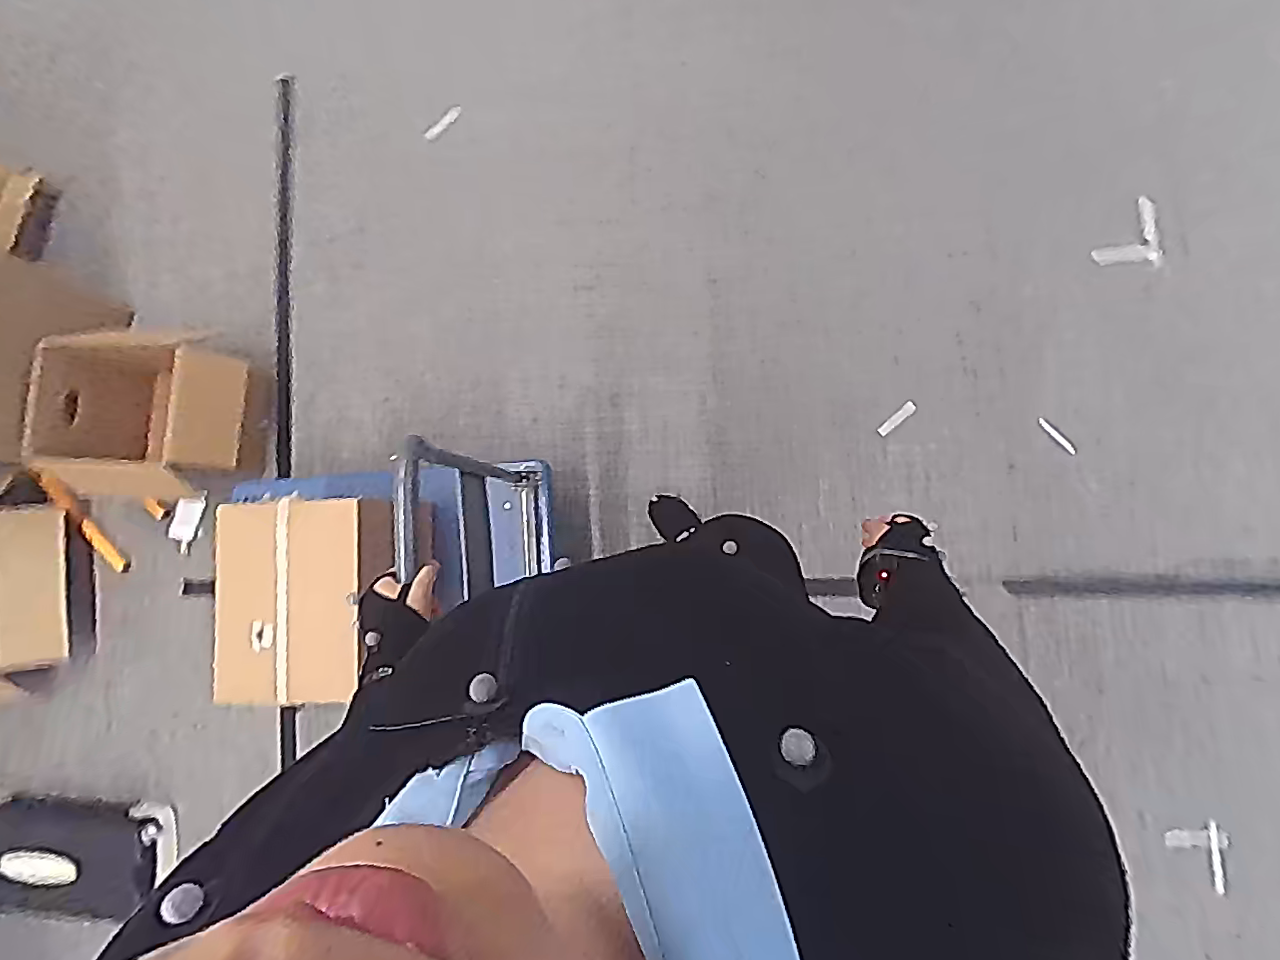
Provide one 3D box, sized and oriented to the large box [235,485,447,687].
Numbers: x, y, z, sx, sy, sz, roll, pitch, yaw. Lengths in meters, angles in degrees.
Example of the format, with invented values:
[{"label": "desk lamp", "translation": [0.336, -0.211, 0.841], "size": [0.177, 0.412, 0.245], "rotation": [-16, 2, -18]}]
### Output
[{"label": "large box", "translation": [-0.670, 0.224, 1.260], "size": [0.320, 0.320, 0.408], "rotation": [-4, 88, 8]}]
